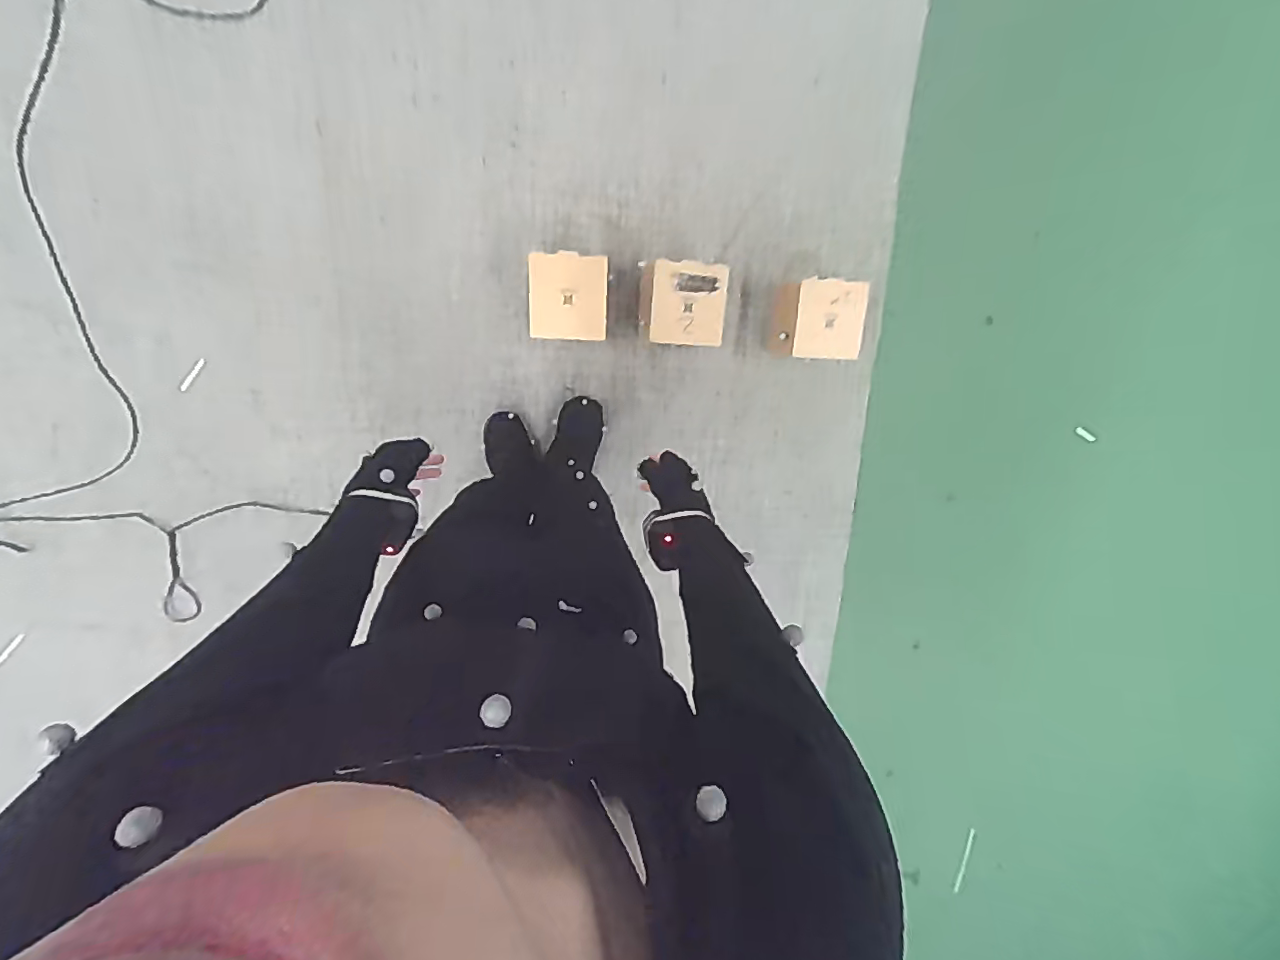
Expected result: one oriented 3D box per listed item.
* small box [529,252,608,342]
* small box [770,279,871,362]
[{"bbox_3d":[-0.160,-0.405,1.214,0.168,0.176,0.179,0,105,-7],"label":"small box"},{"bbox_3d":[0.423,-0.383,1.302,0.168,0.176,0.179,0,106,-8],"label":"small box"}]
